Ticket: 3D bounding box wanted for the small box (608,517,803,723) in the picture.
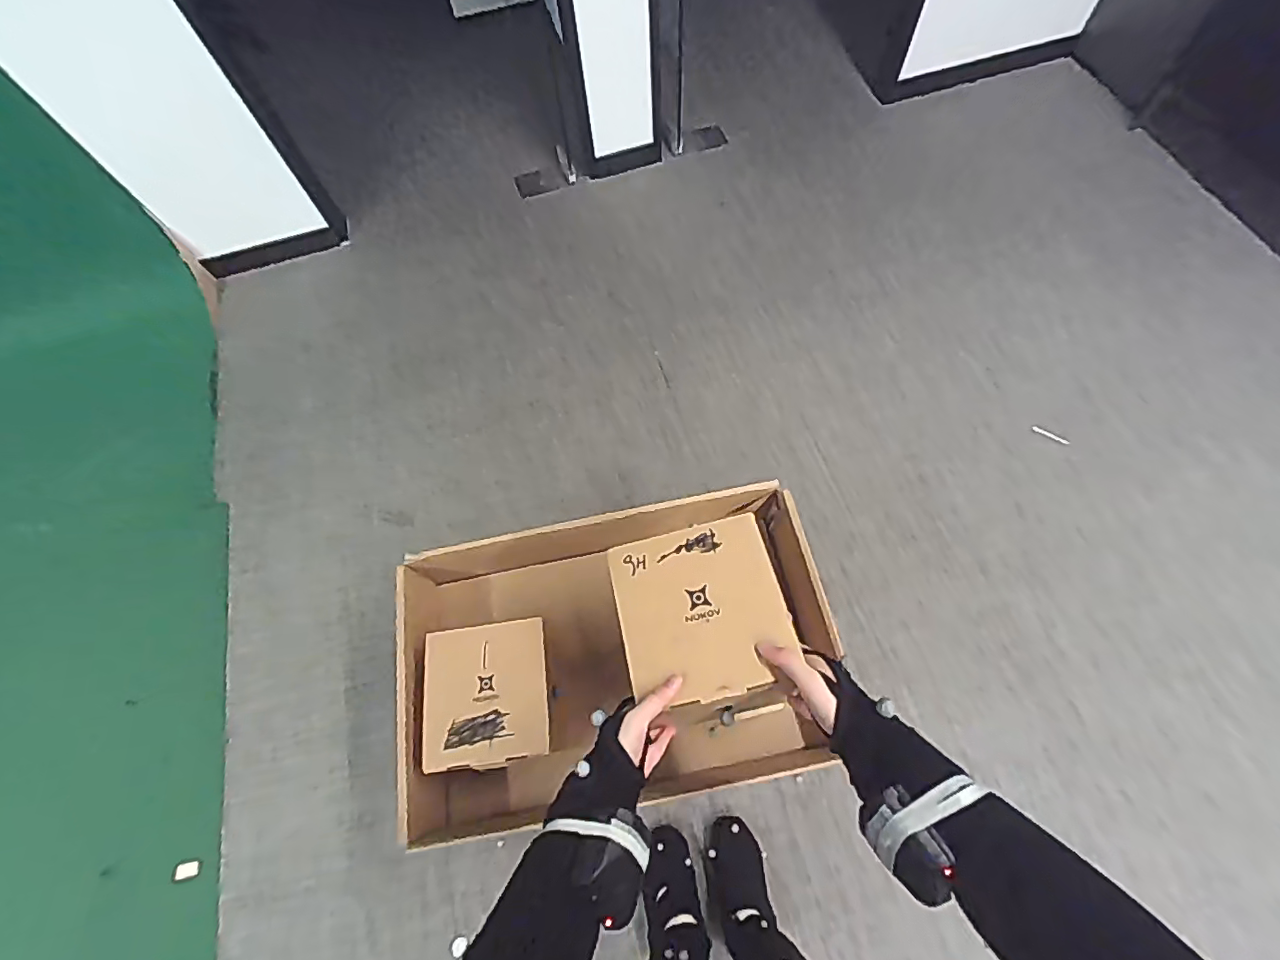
[{"bbox_3d":[0.071,0.168,0.614,0.168,0.176,0.179,-14,61,1],"label":"small box"}]
